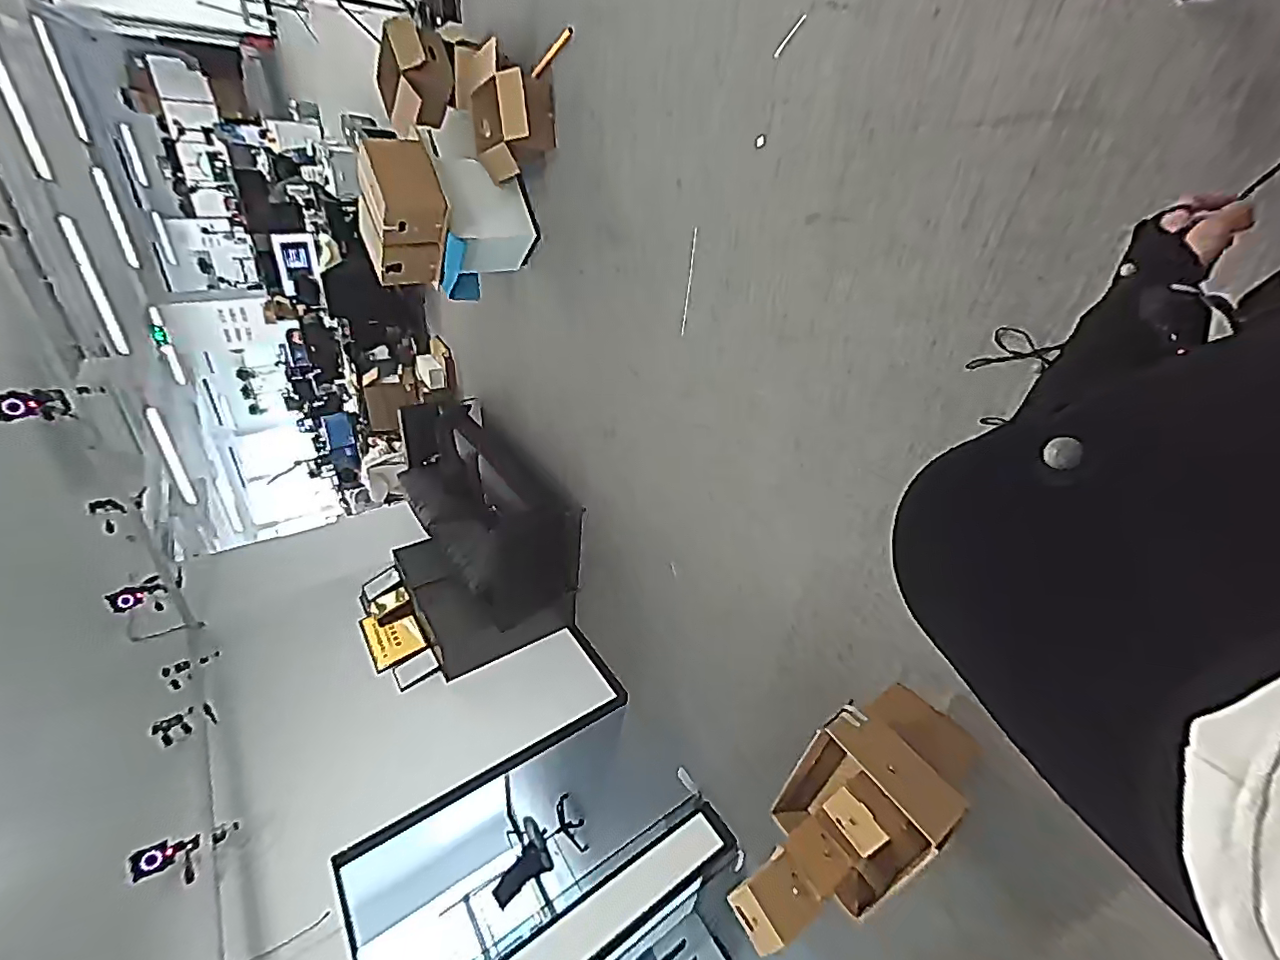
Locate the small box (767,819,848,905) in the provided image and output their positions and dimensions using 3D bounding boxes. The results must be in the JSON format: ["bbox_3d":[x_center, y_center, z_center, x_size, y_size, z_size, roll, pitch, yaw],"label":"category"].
[{"bbox_3d":[0.515,1.206,1.680,0.168,0.176,0.179,43,135,40],"label":"small box"}]

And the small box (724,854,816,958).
[{"bbox_3d":[0.383,1.250,1.591,0.168,0.176,0.179,51,139,32],"label":"small box"}]

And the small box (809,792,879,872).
[{"bbox_3d":[0.645,1.171,1.768,0.168,0.176,0.179,43,136,39],"label":"small box"}]
